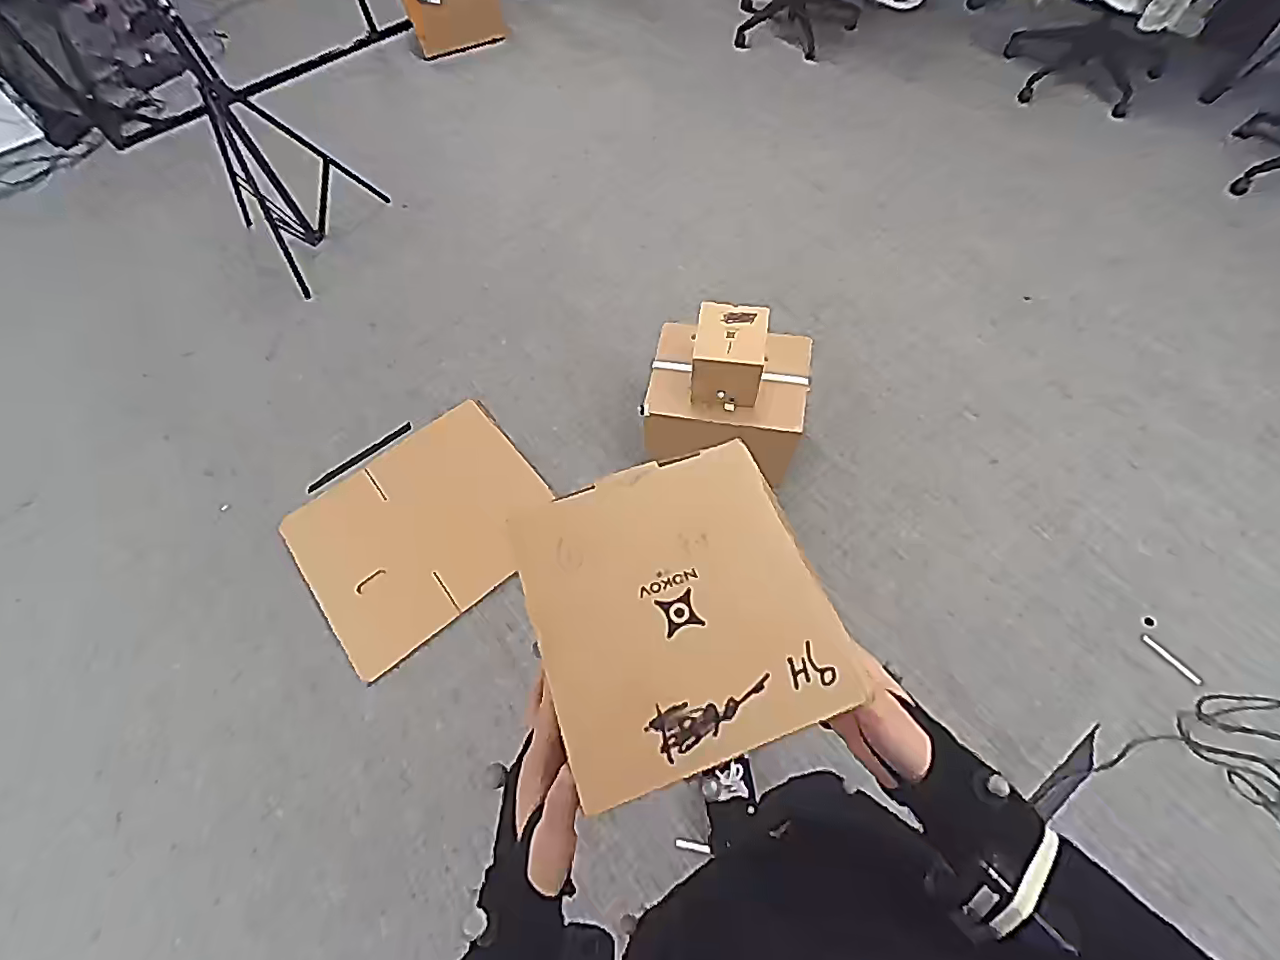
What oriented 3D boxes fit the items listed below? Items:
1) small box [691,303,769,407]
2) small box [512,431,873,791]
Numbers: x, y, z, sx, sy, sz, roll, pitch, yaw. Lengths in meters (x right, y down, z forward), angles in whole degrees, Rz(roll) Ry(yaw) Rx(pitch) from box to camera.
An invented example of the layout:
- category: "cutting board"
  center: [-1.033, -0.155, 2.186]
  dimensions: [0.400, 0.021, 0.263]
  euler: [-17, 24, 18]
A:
- category: "small box"
  center: [0.217, -0.306, 1.330]
  dimensions: [0.168, 0.176, 0.179]
  euler: [7, 64, 8]
- category: "small box"
  center: [0.023, 0.099, 0.385]
  dimensions: [0.168, 0.176, 0.179]
  euler: [-19, 63, -7]
